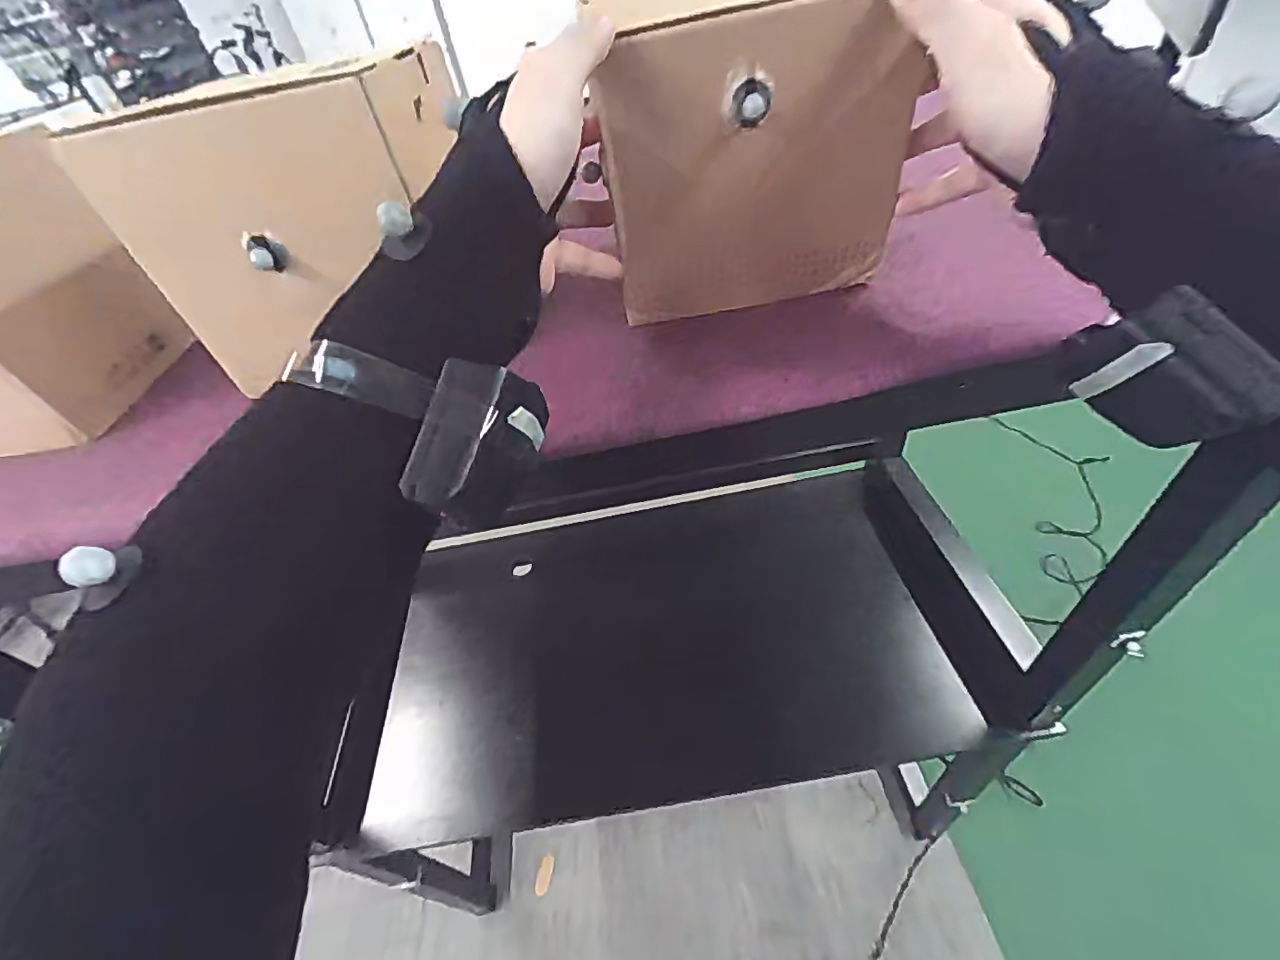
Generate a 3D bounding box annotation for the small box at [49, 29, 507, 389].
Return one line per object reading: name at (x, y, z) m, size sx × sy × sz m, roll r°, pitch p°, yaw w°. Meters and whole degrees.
small box at (-0.208, -0.186, 0.381) m, size 0.179 × 0.176 × 0.168 m, roll -8°, pitch 44°, yaw 5°

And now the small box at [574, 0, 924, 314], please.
small box at (0.061, -0.234, 0.366) m, size 0.179 × 0.176 × 0.168 m, roll -9°, pitch 50°, yaw 3°

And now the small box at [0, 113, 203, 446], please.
small box at (-0.484, -0.132, 0.385) m, size 0.179 × 0.176 × 0.168 m, roll -9°, pitch 45°, yaw 4°
